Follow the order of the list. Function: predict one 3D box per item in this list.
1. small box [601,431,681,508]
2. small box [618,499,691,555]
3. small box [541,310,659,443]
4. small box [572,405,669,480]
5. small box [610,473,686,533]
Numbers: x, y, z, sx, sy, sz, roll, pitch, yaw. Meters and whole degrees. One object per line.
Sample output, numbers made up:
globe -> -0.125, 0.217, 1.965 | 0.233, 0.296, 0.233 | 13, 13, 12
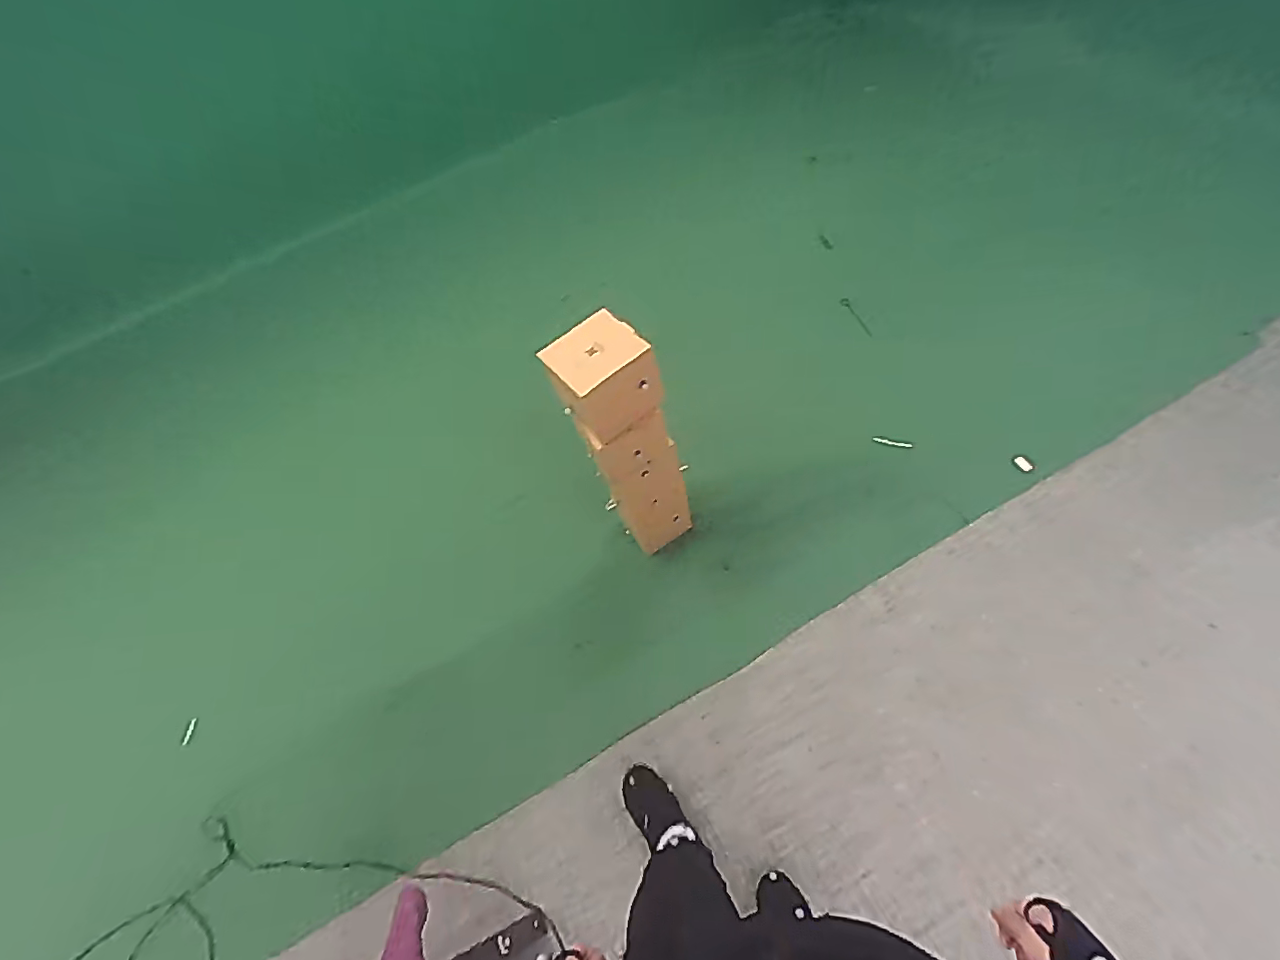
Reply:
small box -> -0.010, -0.056, 1.420 | 0.179, 0.176, 0.168 | -33, 60, -9
small box -> 0.048, 0.103, 1.697 | 0.179, 0.176, 0.168 | -32, 59, -9
small box -> -0.075, -0.214, 1.141 | 0.179, 0.176, 0.168 | -38, 59, -10
small box -> -0.045, -0.122, 1.273 | 0.168, 0.176, 0.179 | -30, 60, -7
small box -> 0.022, 0.021, 1.560 | 0.179, 0.176, 0.168 | -31, 59, -7
